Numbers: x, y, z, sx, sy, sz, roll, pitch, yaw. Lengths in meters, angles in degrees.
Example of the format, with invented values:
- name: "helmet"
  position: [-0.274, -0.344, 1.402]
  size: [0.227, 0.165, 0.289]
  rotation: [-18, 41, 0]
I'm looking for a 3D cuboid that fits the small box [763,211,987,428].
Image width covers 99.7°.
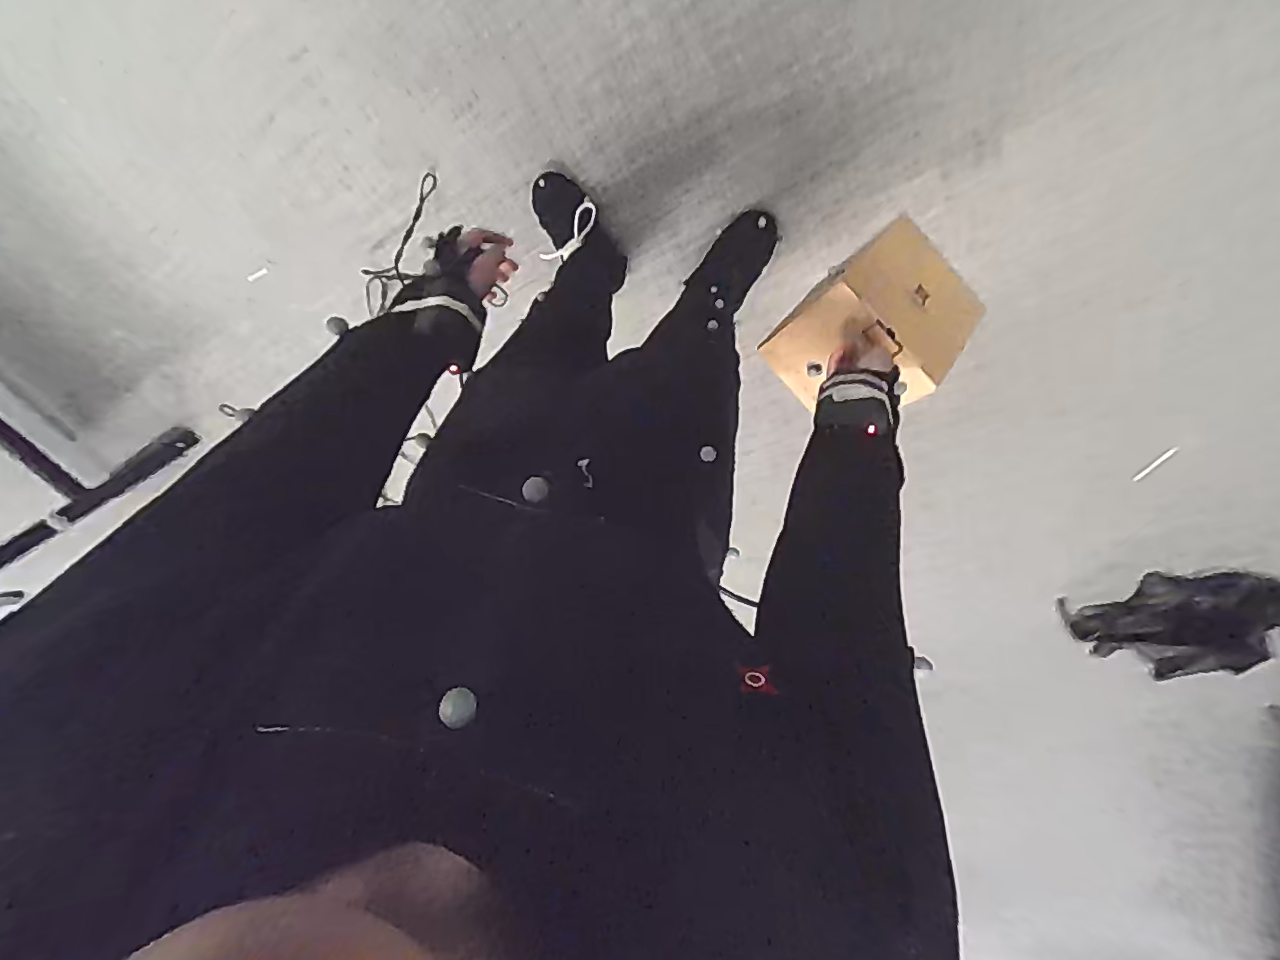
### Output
- name: "small box"
  position: [0.293, -0.197, 0.697]
  size: [0.168, 0.179, 0.176]
  rotation: [48, 154, -6]
